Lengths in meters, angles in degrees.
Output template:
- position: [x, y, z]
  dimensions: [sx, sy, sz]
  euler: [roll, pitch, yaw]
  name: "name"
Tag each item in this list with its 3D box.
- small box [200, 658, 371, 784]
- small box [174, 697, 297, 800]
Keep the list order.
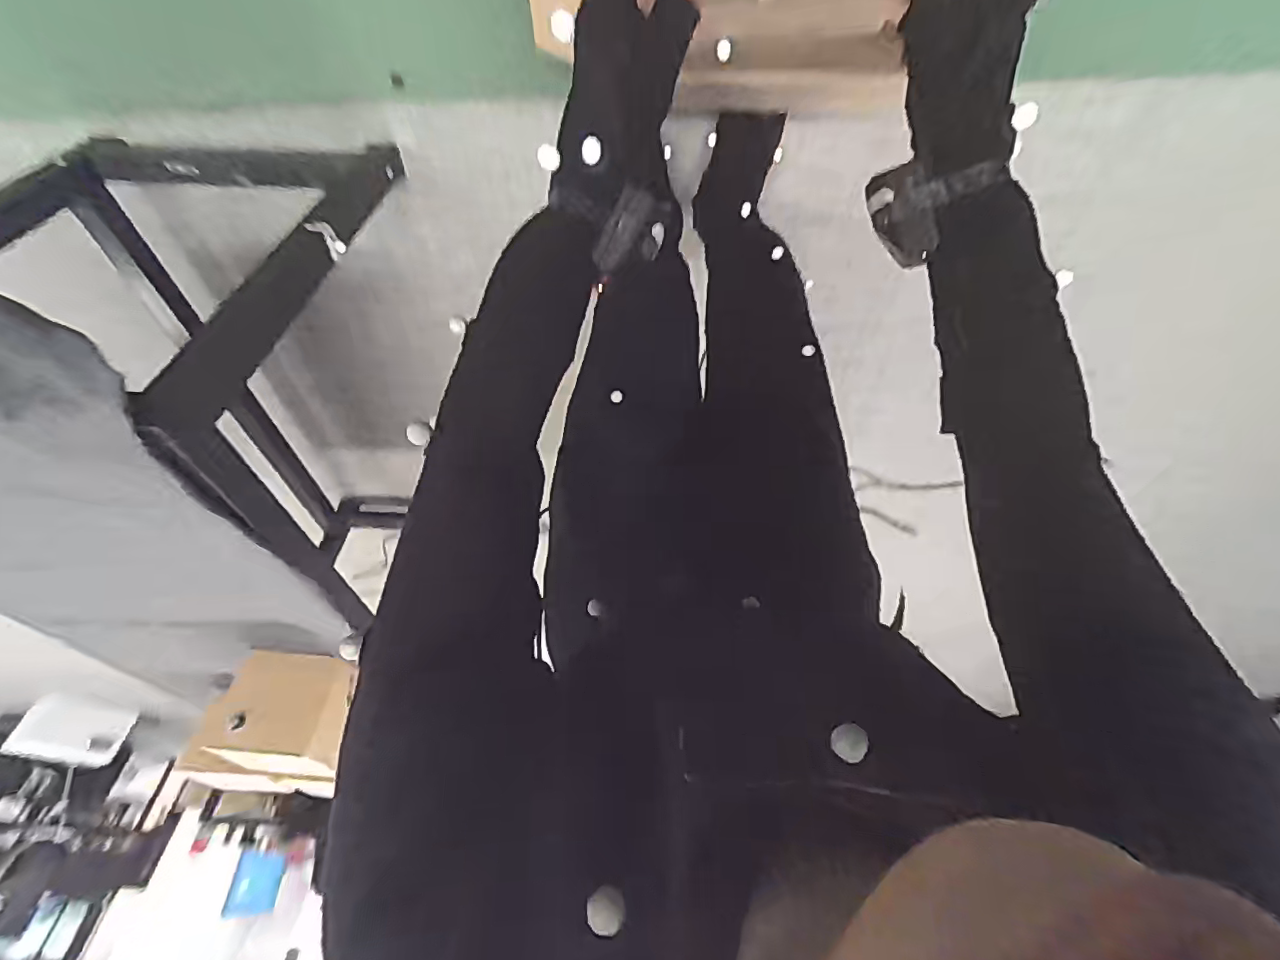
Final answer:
- position: [-0.630, 0.438, 0.990]
  dimensions: [0.179, 0.176, 0.168]
  euler: [5, 140, 0]
  name: "small box"
- position: [-0.847, 0.589, 1.191]
  dimensions: [0.179, 0.176, 0.168]
  euler: [2, 140, 0]
  name: "small box"
